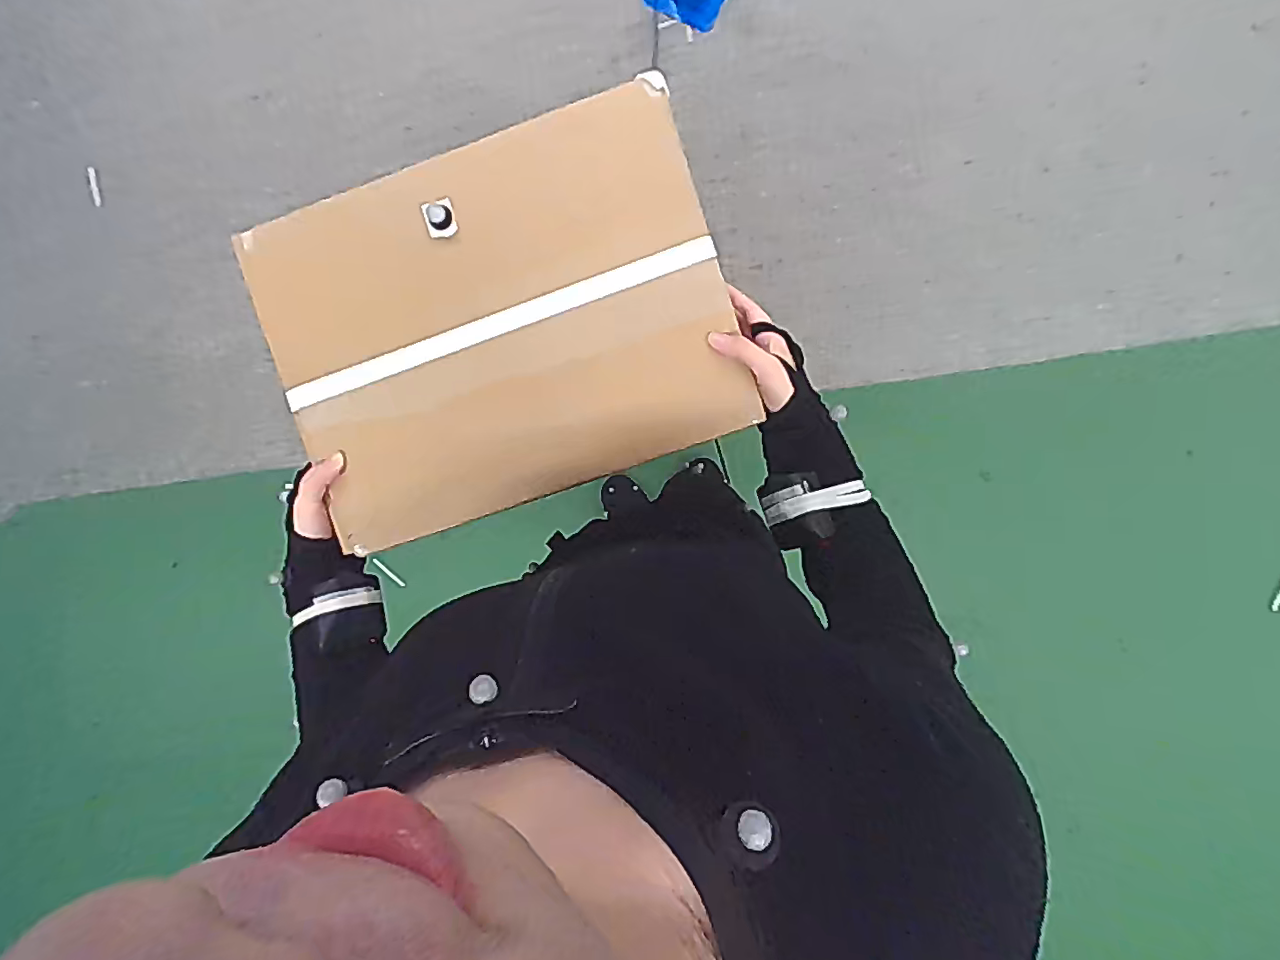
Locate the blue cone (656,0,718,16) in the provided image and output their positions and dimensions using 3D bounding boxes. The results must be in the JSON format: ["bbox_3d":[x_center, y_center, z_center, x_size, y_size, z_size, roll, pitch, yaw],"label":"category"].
[{"bbox_3d":[0.112,-1.264,1.193,0.192,0.380,0.193,25,98,2],"label":"blue cone"}]
